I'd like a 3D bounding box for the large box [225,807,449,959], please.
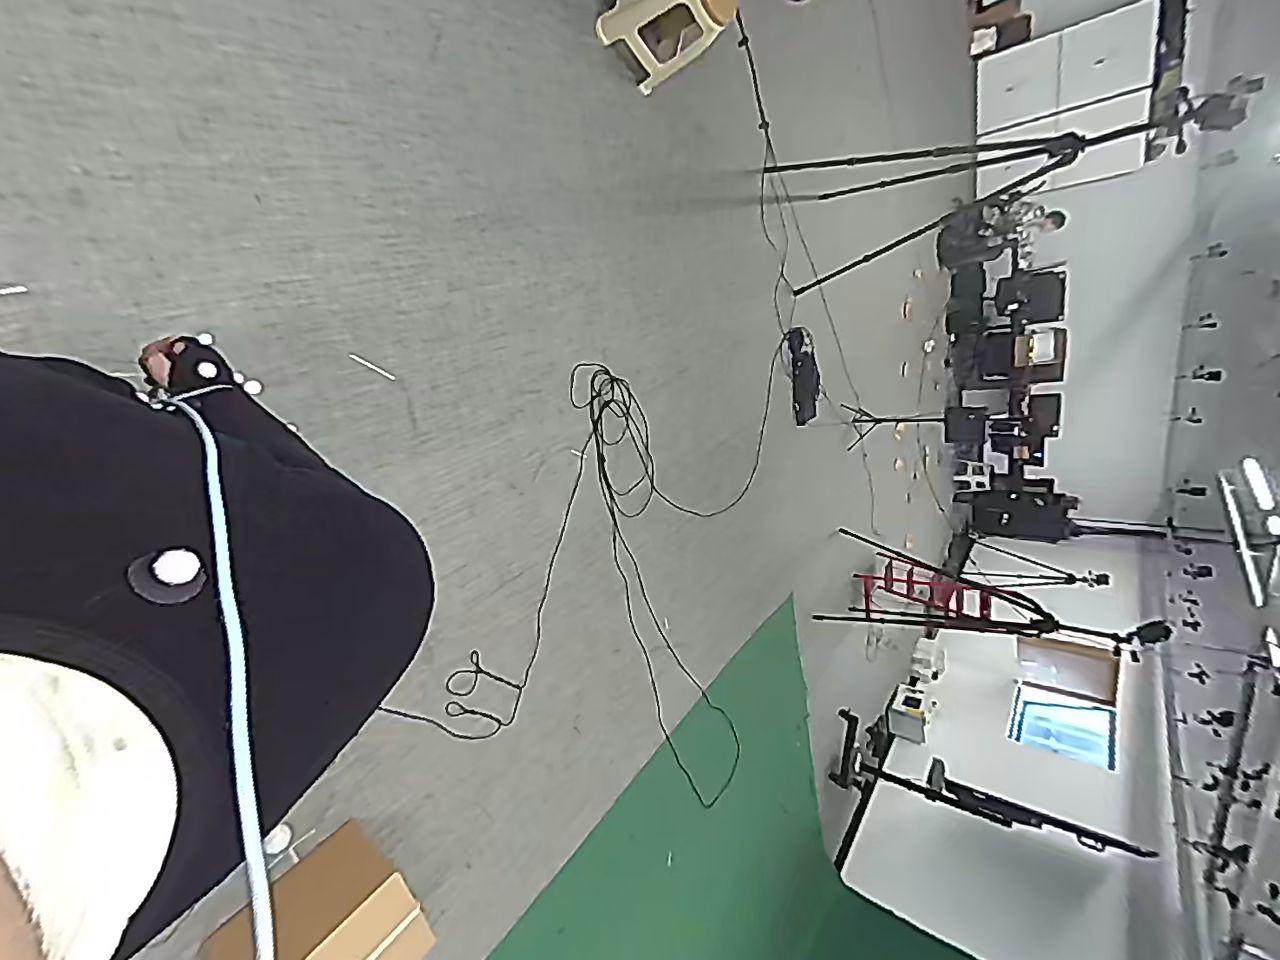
[{"bbox_3d":[-0.826,1.237,1.503,0.408,0.320,0.320,-34,117,-41],"label":"large box"}]
